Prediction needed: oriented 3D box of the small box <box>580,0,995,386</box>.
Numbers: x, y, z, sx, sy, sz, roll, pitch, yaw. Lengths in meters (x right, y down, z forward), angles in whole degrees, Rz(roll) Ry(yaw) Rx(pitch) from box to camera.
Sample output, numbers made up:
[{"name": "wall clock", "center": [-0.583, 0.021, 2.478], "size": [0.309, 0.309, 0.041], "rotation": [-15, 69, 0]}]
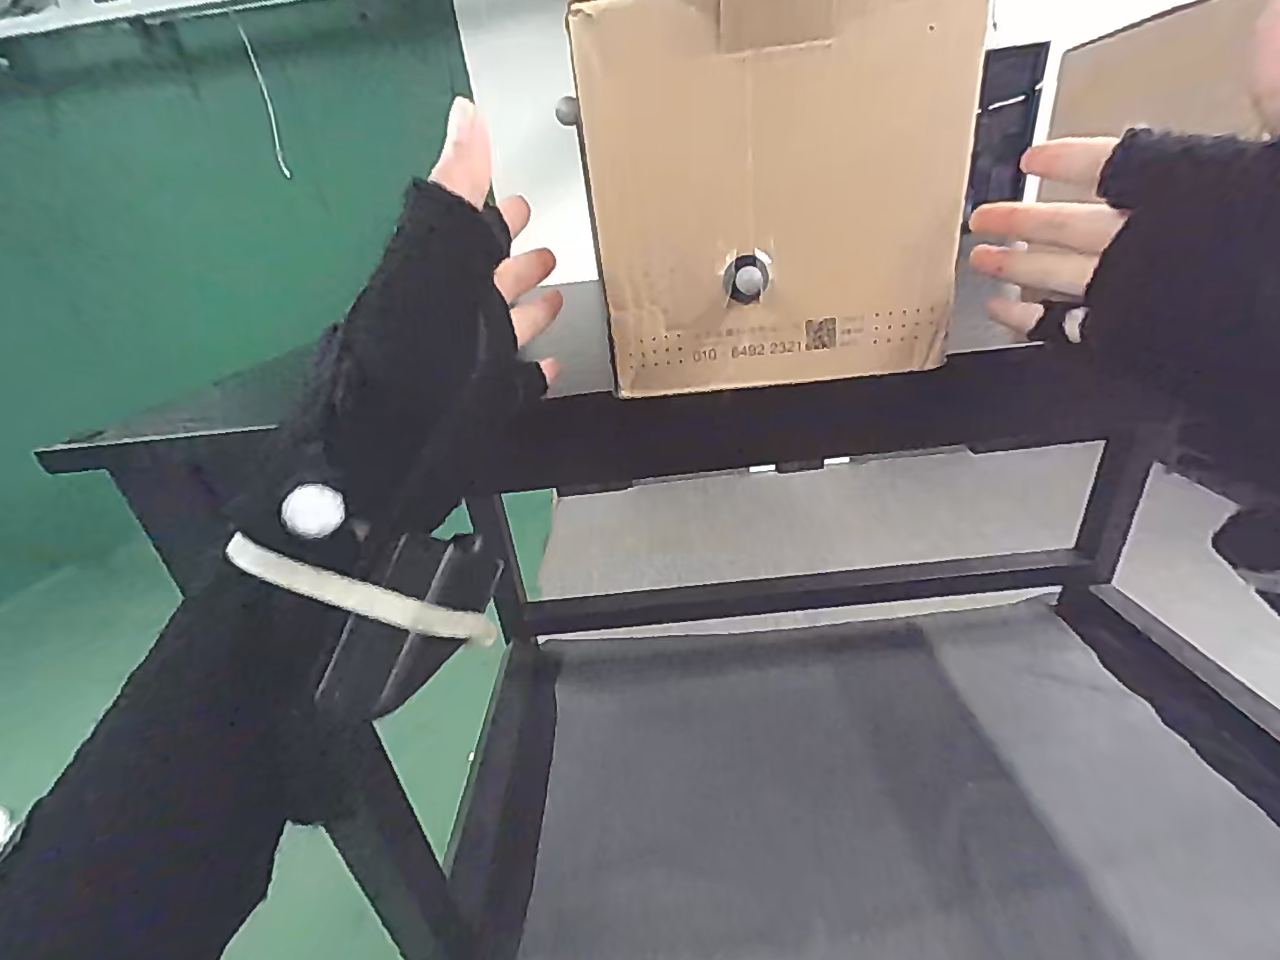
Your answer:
[{"name": "small box", "center": [0.066, -0.161, 0.319], "size": [0.168, 0.176, 0.179], "rotation": [-5, 26, 4]}]
